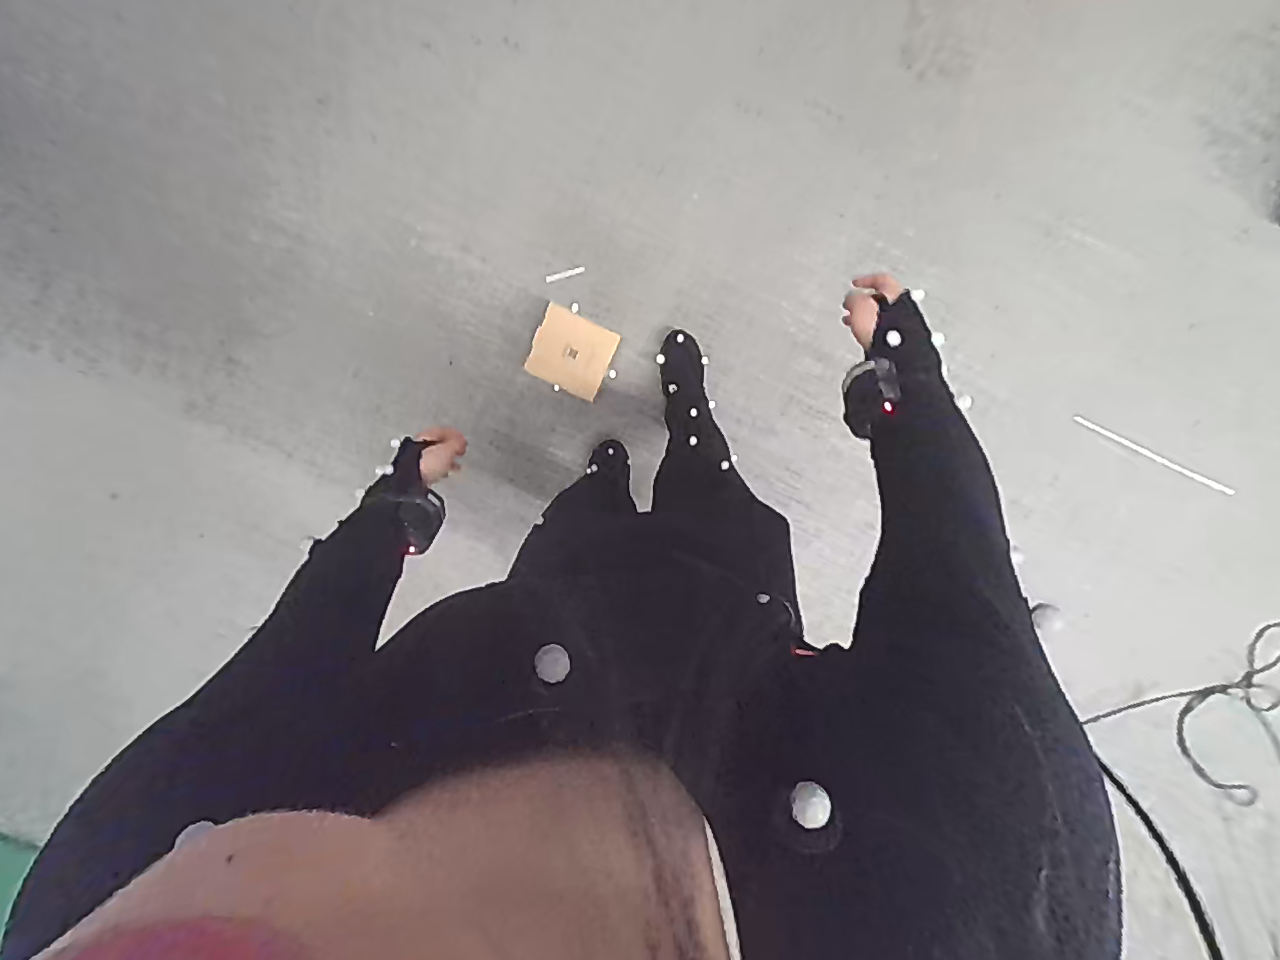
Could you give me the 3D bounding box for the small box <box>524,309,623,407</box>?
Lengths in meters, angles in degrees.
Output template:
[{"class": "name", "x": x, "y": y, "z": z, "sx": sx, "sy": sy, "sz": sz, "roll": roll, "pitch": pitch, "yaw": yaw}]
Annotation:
[{"class": "small box", "x": -0.151, "y": -0.291, "z": 1.296, "sx": 0.179, "sy": 0.176, "sz": 0.168, "roll": 24, "pitch": 103, "yaw": -5}]
